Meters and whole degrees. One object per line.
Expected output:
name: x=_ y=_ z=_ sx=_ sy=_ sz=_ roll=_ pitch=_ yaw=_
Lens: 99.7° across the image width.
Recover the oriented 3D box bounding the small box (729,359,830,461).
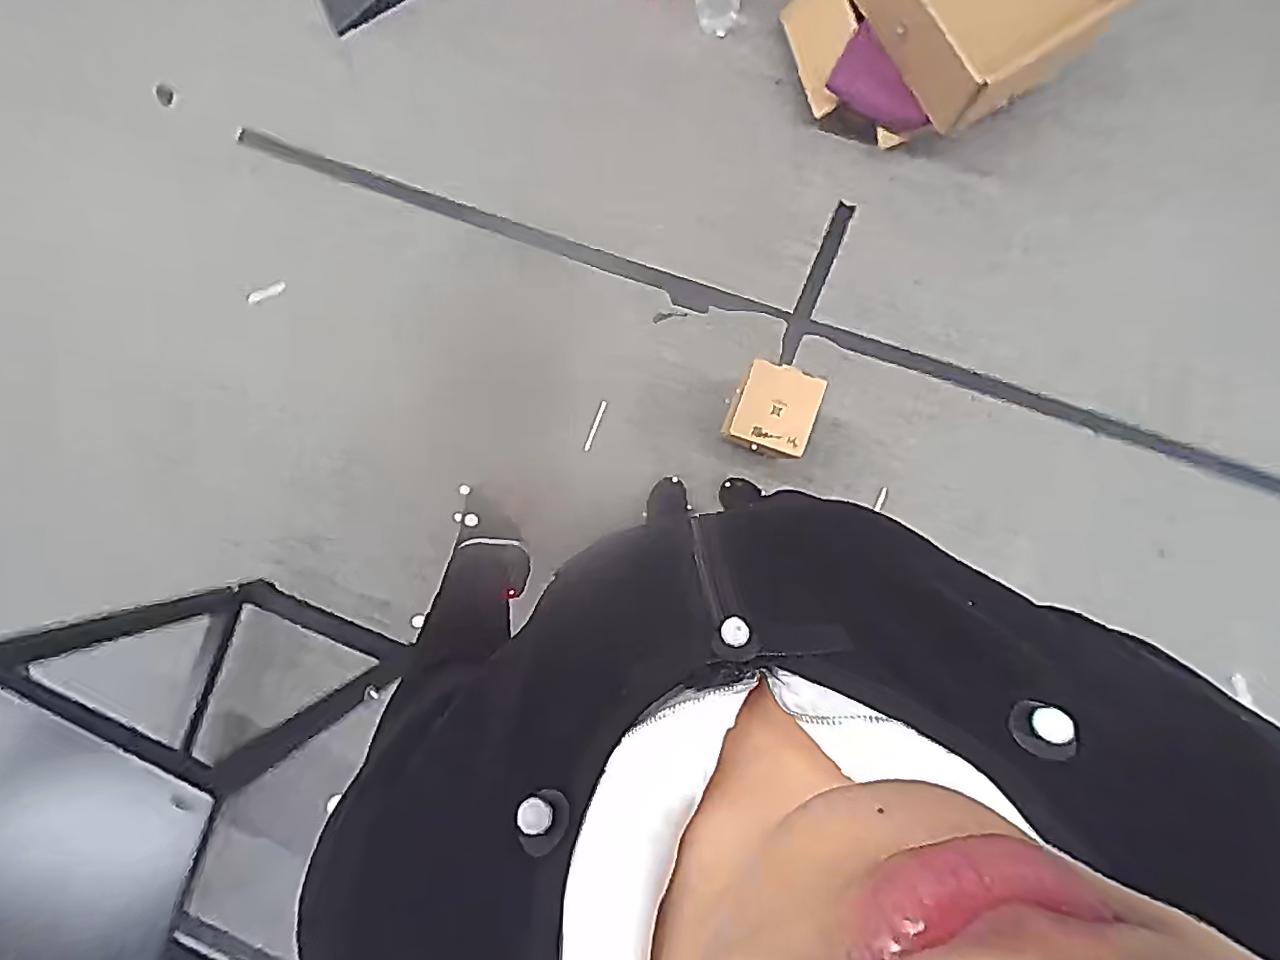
small box: x=0.309 y=-0.153 z=1.239 sx=0.168 sy=0.176 sz=0.179 roll=20 pitch=92 yaw=5

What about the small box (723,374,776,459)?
small box: x=0.325 y=-0.157 z=1.402 sx=0.179 sy=0.176 sz=0.168 roll=21 pitch=92 yaw=6
